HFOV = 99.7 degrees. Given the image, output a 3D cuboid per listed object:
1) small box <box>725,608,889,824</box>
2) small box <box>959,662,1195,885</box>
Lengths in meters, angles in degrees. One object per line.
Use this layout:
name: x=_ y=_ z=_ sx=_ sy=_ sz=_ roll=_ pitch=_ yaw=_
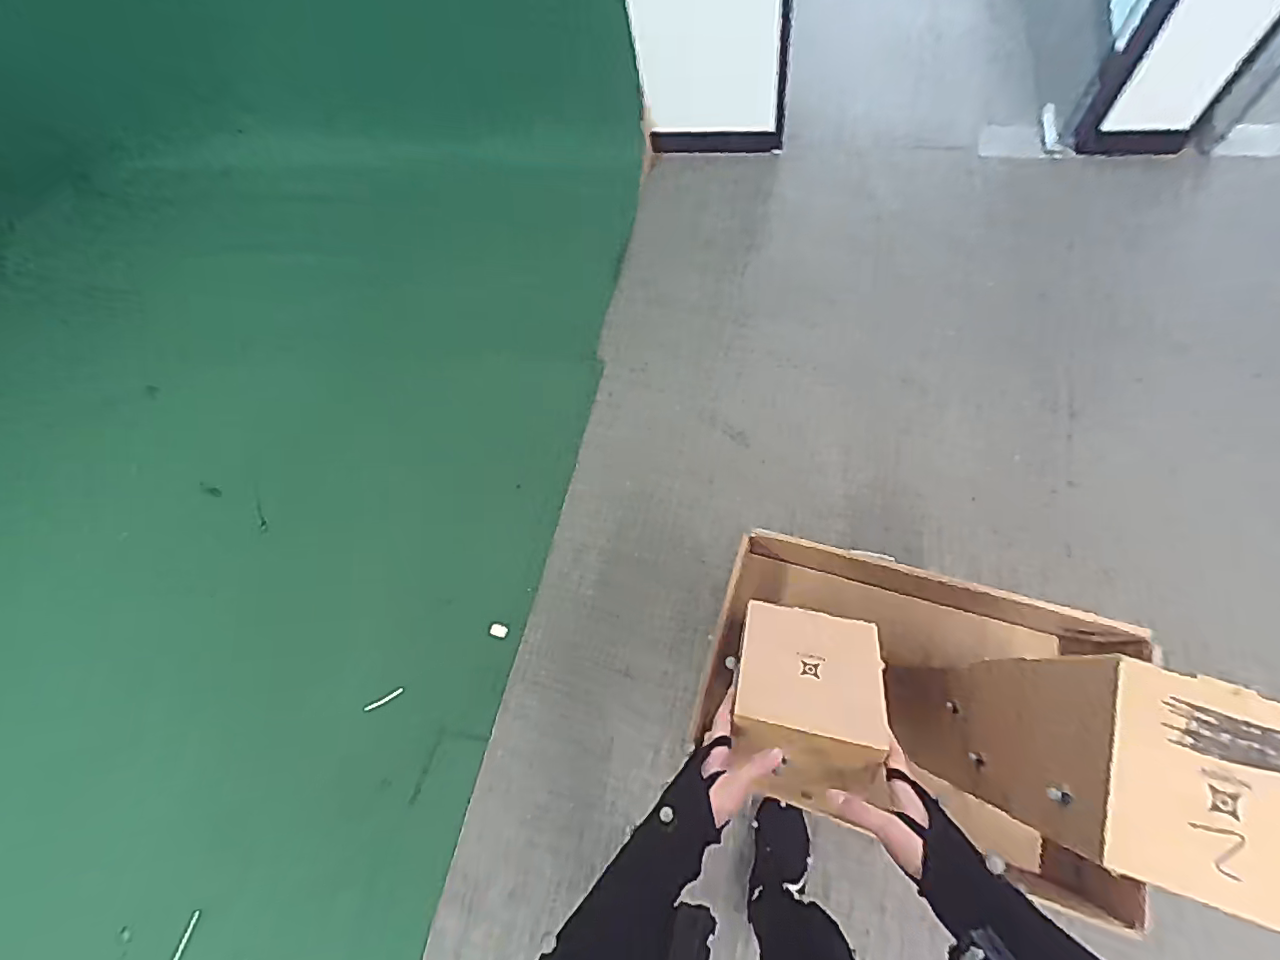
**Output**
small box: x=0.202 y=0.295 z=0.686 sx=0.168 sy=0.176 sz=0.179 roll=8 pitch=33 yaw=12
small box: x=0.517 y=0.340 z=0.664 sx=0.168 sy=0.176 sz=0.179 roll=15 pitch=73 yaw=15
